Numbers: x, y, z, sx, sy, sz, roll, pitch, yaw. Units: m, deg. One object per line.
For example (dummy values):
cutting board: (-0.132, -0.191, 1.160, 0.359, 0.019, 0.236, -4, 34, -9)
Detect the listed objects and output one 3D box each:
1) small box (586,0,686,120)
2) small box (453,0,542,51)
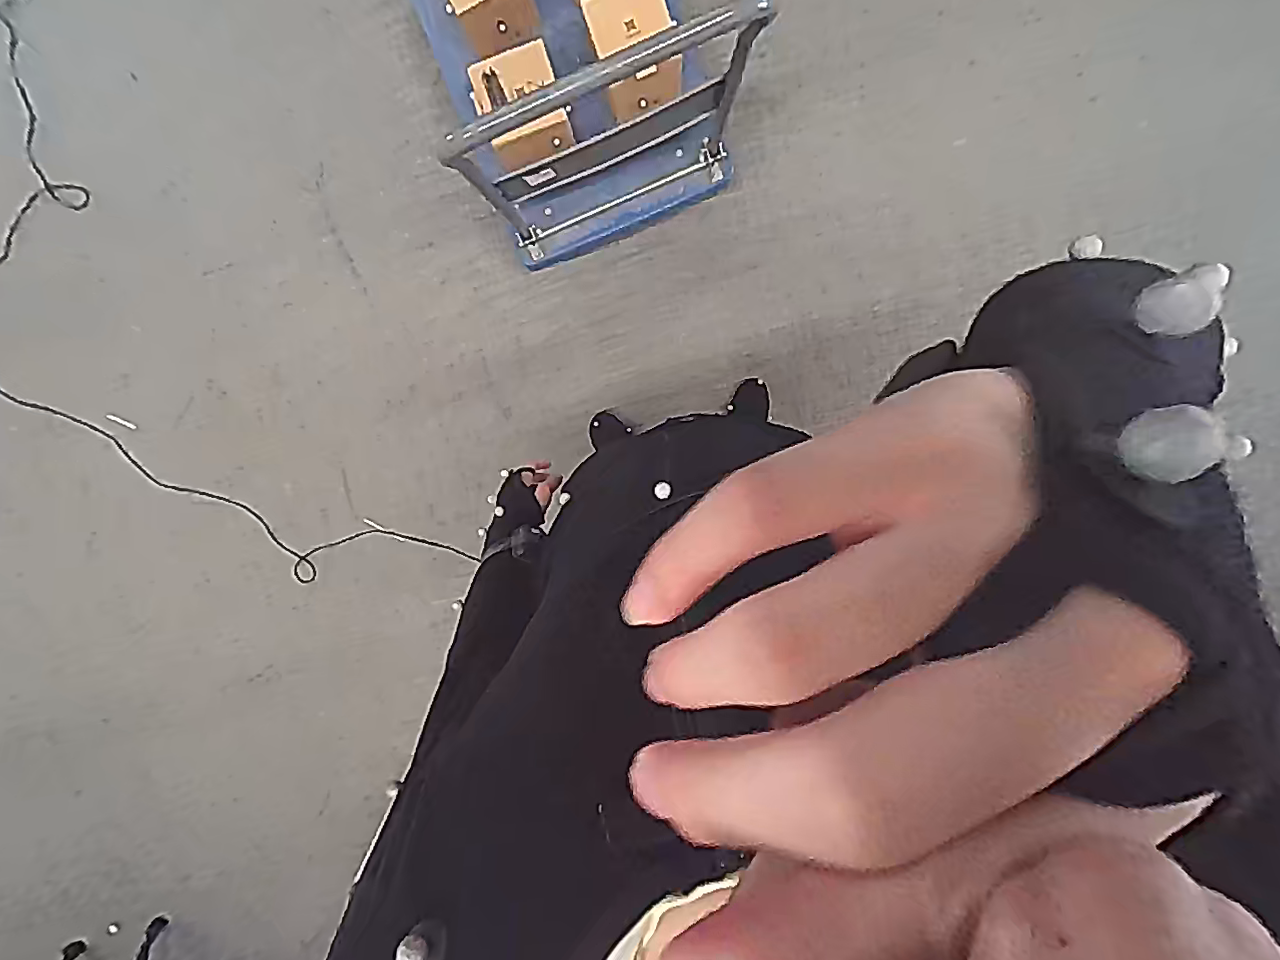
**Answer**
small box: (-0.006, -0.953, 1.199, 0.168, 0.176, 0.179, -20, 99, 6)
small box: (-0.333, -1.097, 1.187, 0.168, 0.176, 0.179, -24, 98, 6)
